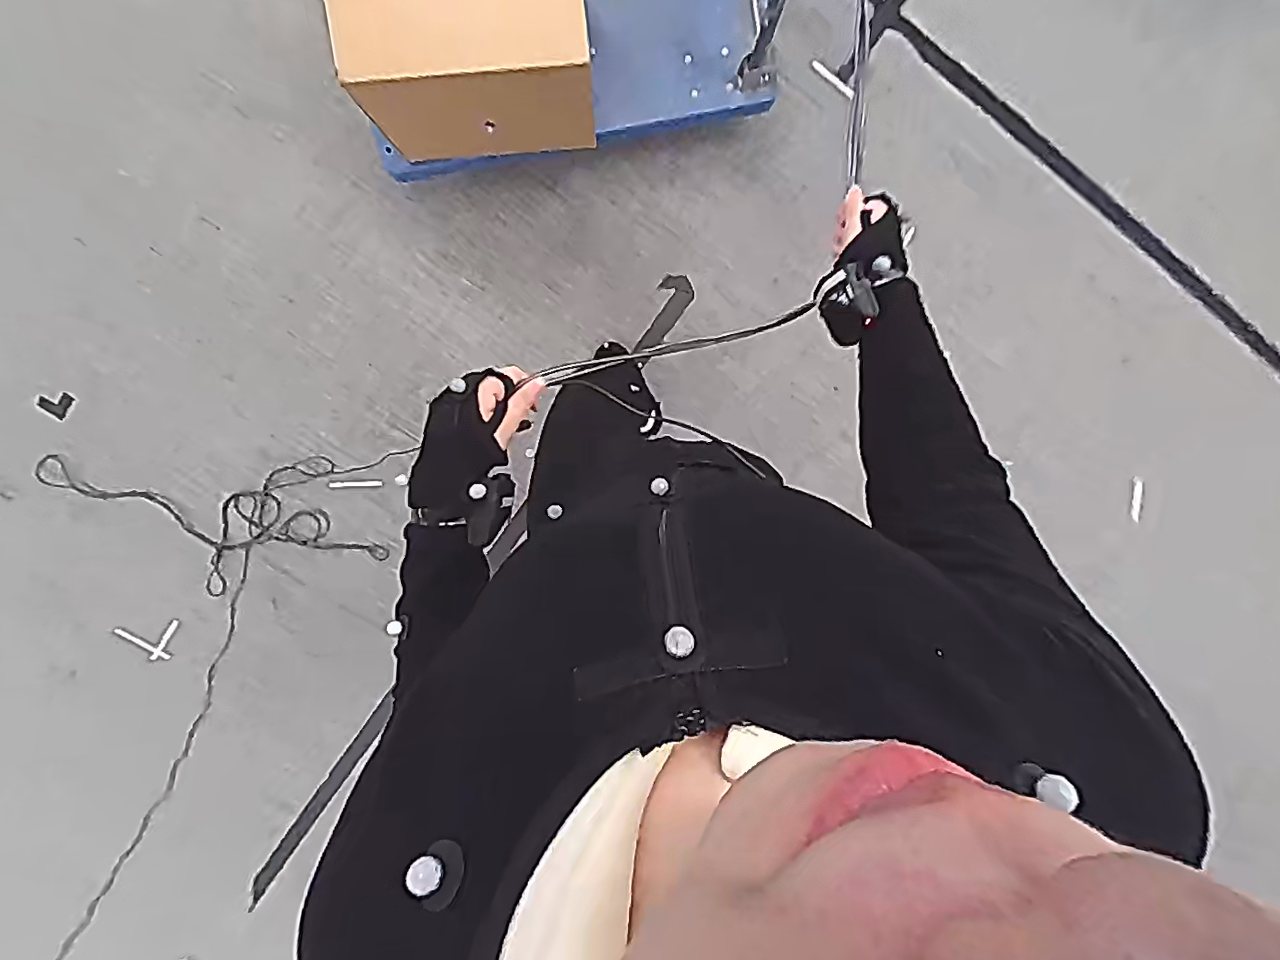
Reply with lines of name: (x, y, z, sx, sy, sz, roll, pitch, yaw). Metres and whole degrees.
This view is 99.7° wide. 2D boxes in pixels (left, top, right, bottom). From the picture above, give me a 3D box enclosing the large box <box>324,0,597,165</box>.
large box: (-0.300, -0.813, 0.984, 0.408, 0.320, 0.320, -6, 99, -1)
